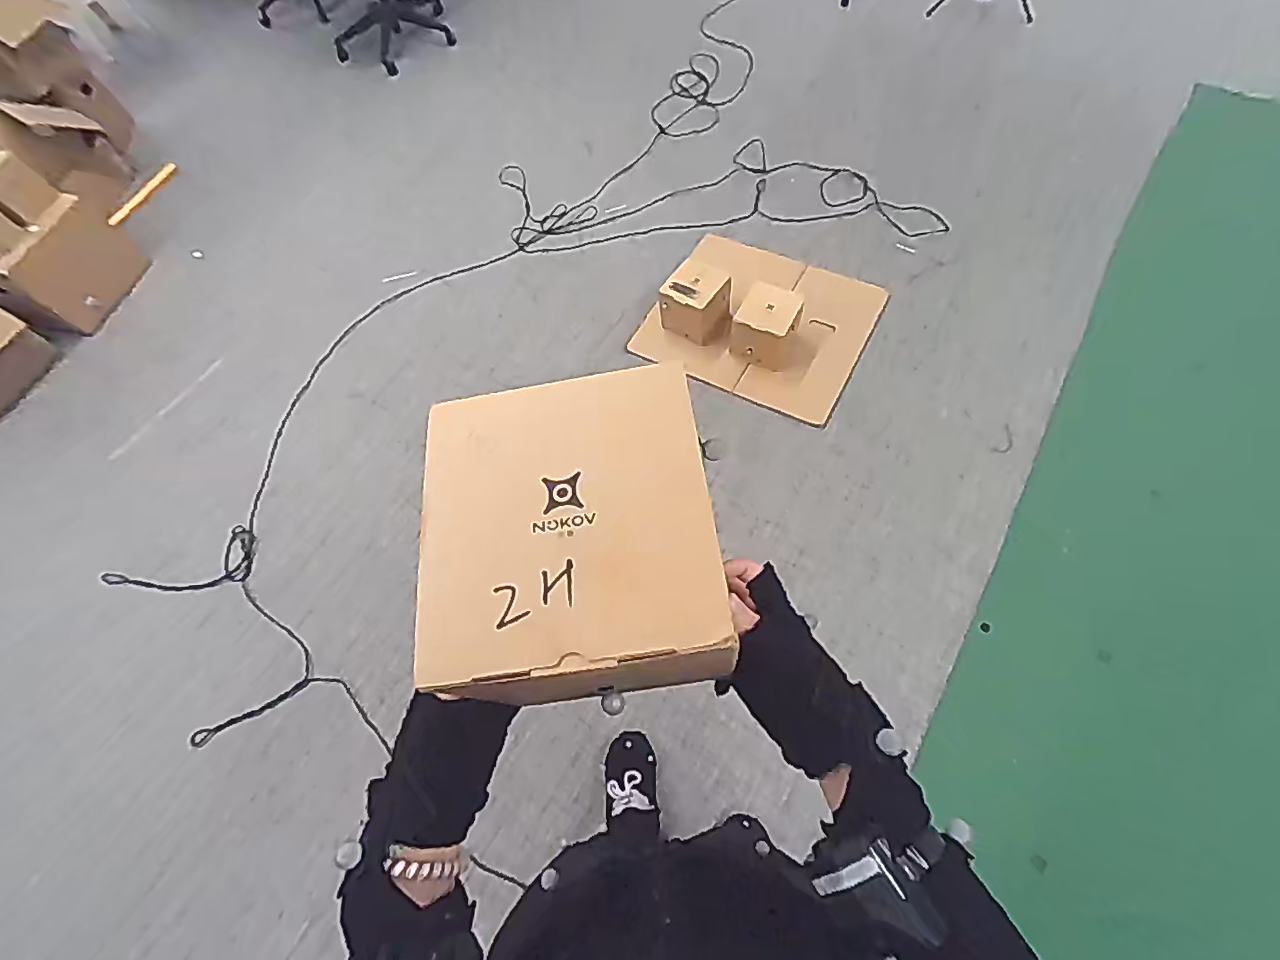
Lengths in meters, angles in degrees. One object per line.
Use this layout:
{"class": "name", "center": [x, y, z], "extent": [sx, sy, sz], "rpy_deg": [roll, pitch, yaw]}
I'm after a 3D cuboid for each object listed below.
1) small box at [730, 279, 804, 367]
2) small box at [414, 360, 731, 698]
{"class": "small box", "center": [0.391, -0.489, 1.698], "extent": [0.168, 0.176, 0.179], "rpy_deg": [25, 70, 16]}
{"class": "small box", "center": [-0.034, 0.047, 0.379], "extent": [0.168, 0.176, 0.179], "rpy_deg": [-10, 65, 4]}
